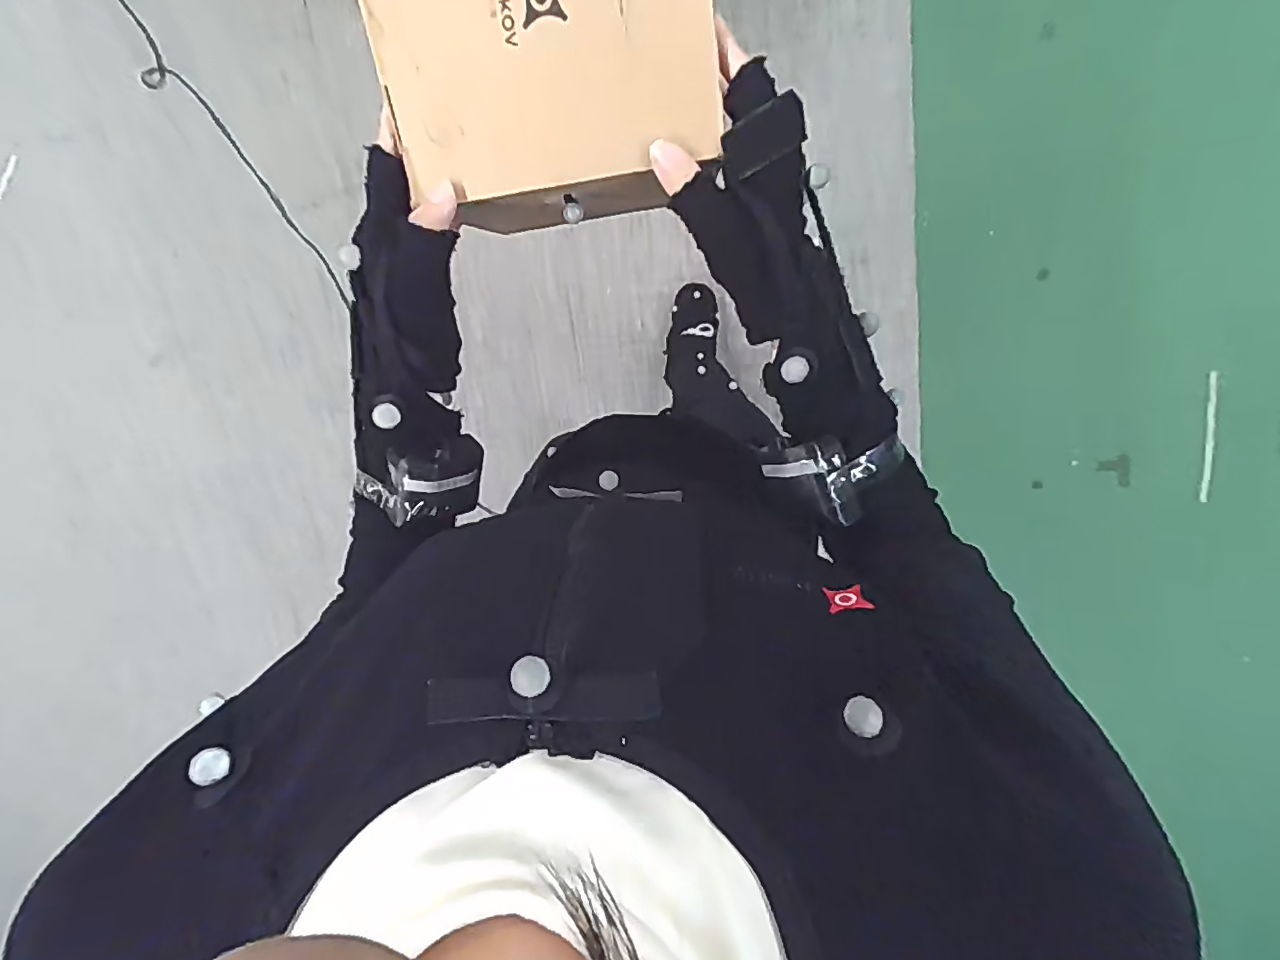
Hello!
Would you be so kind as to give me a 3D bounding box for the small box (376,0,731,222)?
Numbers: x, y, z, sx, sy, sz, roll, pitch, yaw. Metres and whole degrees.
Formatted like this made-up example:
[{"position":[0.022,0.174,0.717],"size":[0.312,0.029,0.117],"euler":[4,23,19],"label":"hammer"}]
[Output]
[{"position":[-0.043,-0.271,0.344],"size":[0.179,0.176,0.168],"euler":[-8,111,5],"label":"small box"}]
